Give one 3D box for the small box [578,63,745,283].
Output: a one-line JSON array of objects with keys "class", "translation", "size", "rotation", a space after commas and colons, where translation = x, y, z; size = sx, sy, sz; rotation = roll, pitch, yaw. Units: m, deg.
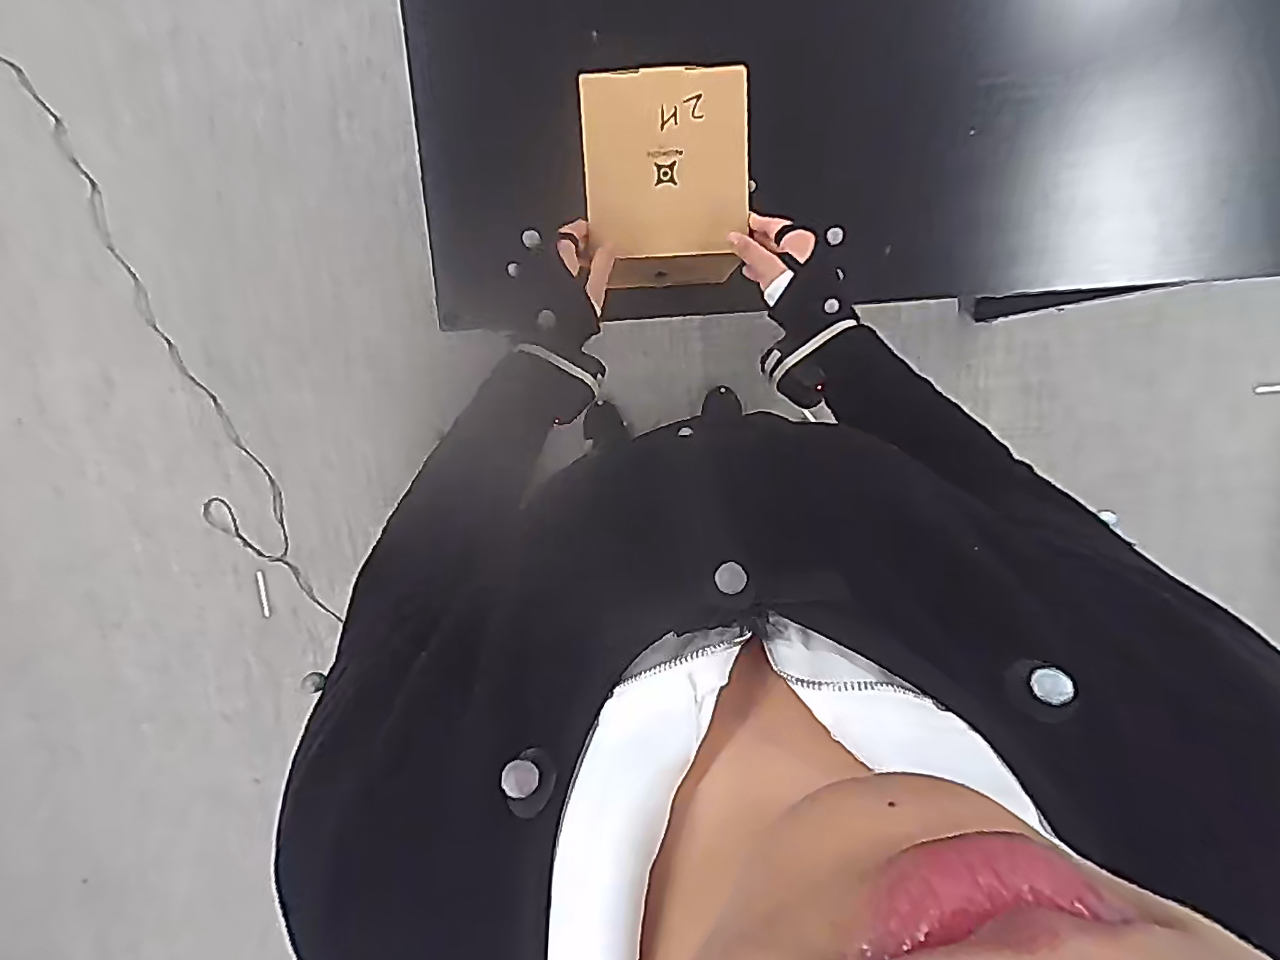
[{"class": "small box", "translation": [0.025, -0.331, 0.621], "size": [0.168, 0.176, 0.179], "rotation": [-3, 99, 1]}]
